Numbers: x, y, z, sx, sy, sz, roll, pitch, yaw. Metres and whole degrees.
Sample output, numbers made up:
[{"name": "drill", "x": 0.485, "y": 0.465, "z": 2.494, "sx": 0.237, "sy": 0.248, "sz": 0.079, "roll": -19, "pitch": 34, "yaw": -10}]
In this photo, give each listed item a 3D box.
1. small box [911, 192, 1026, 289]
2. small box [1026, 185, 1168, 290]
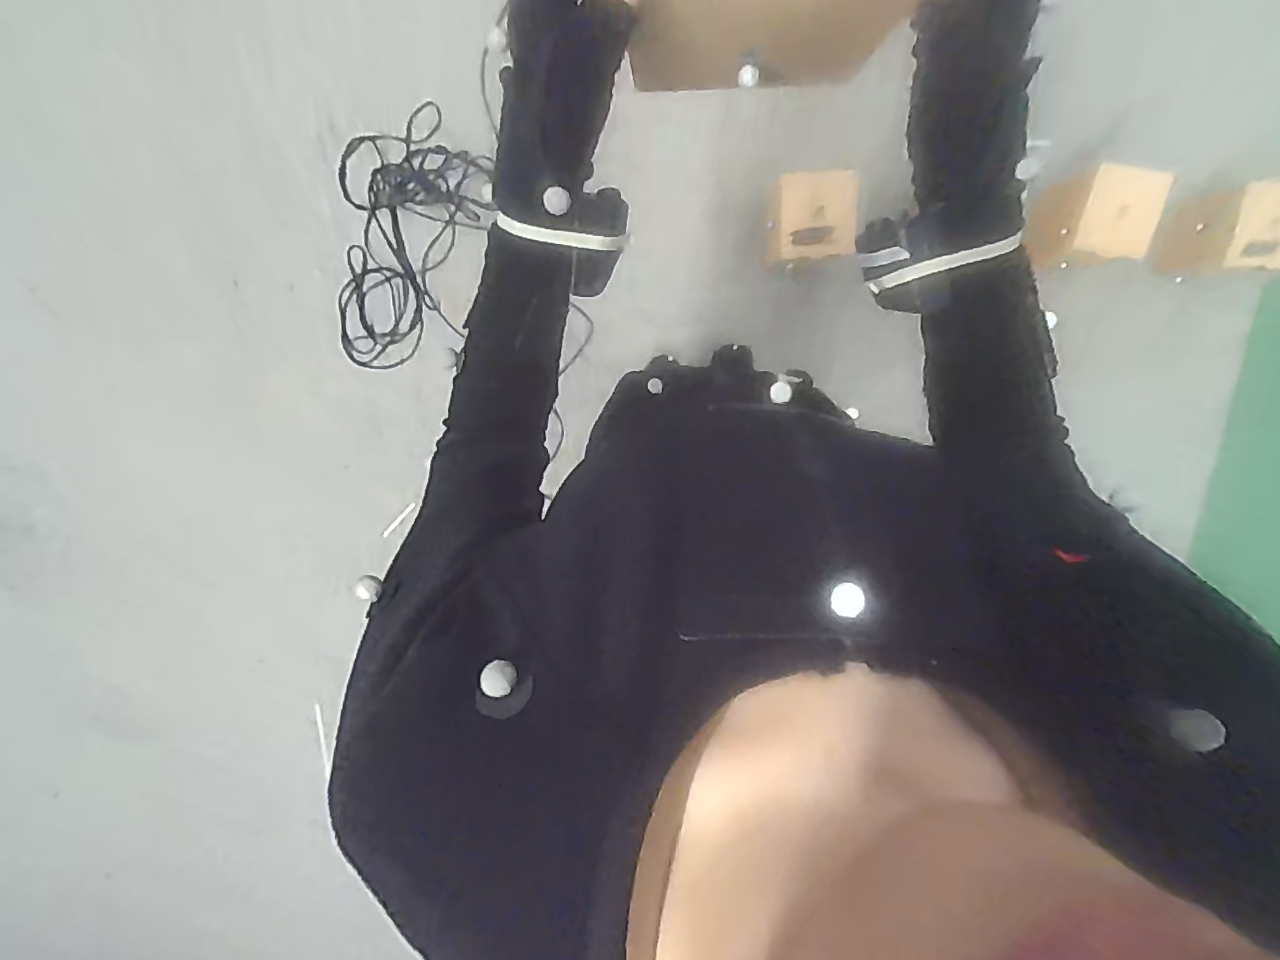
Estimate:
[{"name": "small box", "x": 0.753, "y": -0.549, "z": 1.257, "sx": 0.168, "sy": 0.176, "sz": 0.179, "roll": -1, "pitch": 103, "yaw": 4}, {"name": "small box", "x": 1.038, "y": -0.551, "z": 1.246, "sx": 0.168, "sy": 0.176, "sz": 0.179, "roll": 8, "pitch": 102, "yaw": 0}]
